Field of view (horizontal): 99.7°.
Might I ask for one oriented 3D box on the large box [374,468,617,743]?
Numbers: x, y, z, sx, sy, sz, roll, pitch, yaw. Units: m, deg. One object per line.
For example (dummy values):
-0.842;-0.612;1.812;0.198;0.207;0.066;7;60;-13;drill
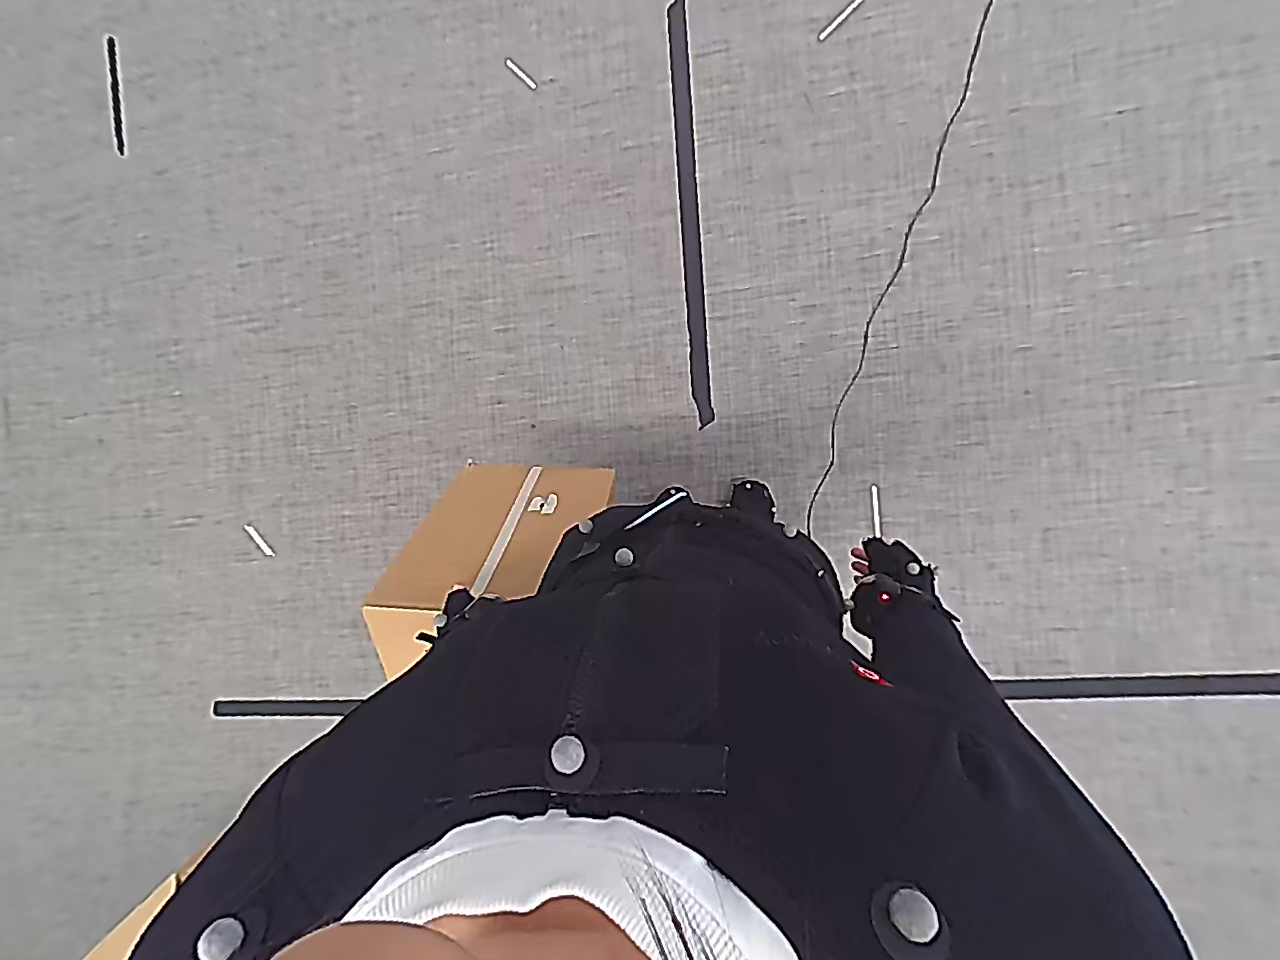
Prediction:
-0.219;0.214;1.006;0.320;0.408;0.320;3;121;4;large box
